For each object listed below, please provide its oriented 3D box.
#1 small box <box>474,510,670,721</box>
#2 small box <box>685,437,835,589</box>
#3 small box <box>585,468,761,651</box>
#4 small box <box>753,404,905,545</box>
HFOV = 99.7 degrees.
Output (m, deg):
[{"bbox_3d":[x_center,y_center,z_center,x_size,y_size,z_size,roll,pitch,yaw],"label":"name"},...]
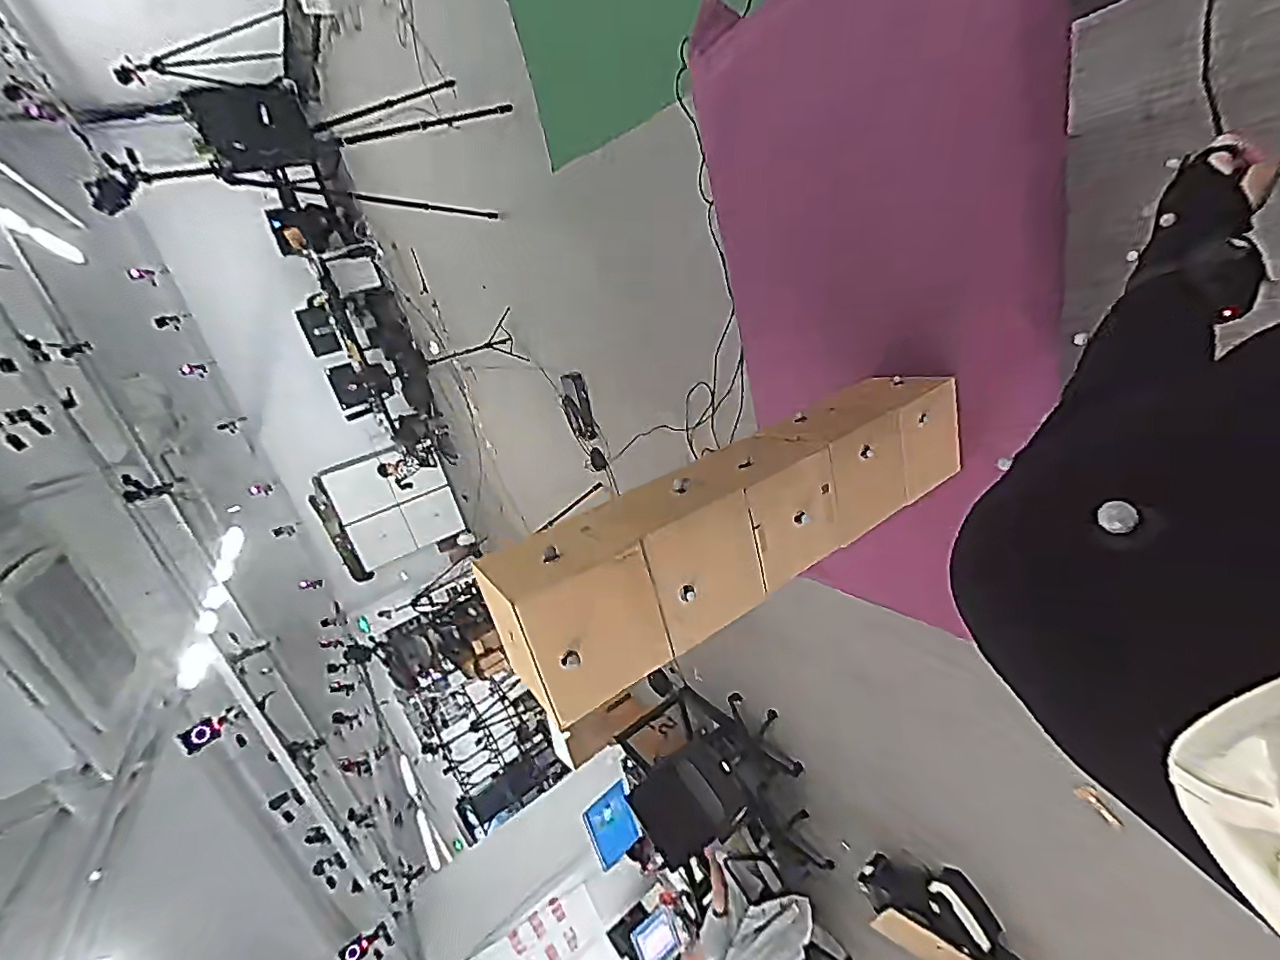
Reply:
[{"bbox_3d":[-0.085,0.156,0.694,0.168,0.176,0.179,15,125,57],"label":"small box"},{"bbox_3d":[0.183,0.039,0.840,0.179,0.176,0.168,15,124,57],"label":"small box"},{"bbox_3d":[0.050,0.100,0.764,0.168,0.176,0.179,15,124,58],"label":"small box"},{"bbox_3d":[0.319,-0.021,0.907,0.168,0.176,0.179,17,127,57],"label":"small box"}]
